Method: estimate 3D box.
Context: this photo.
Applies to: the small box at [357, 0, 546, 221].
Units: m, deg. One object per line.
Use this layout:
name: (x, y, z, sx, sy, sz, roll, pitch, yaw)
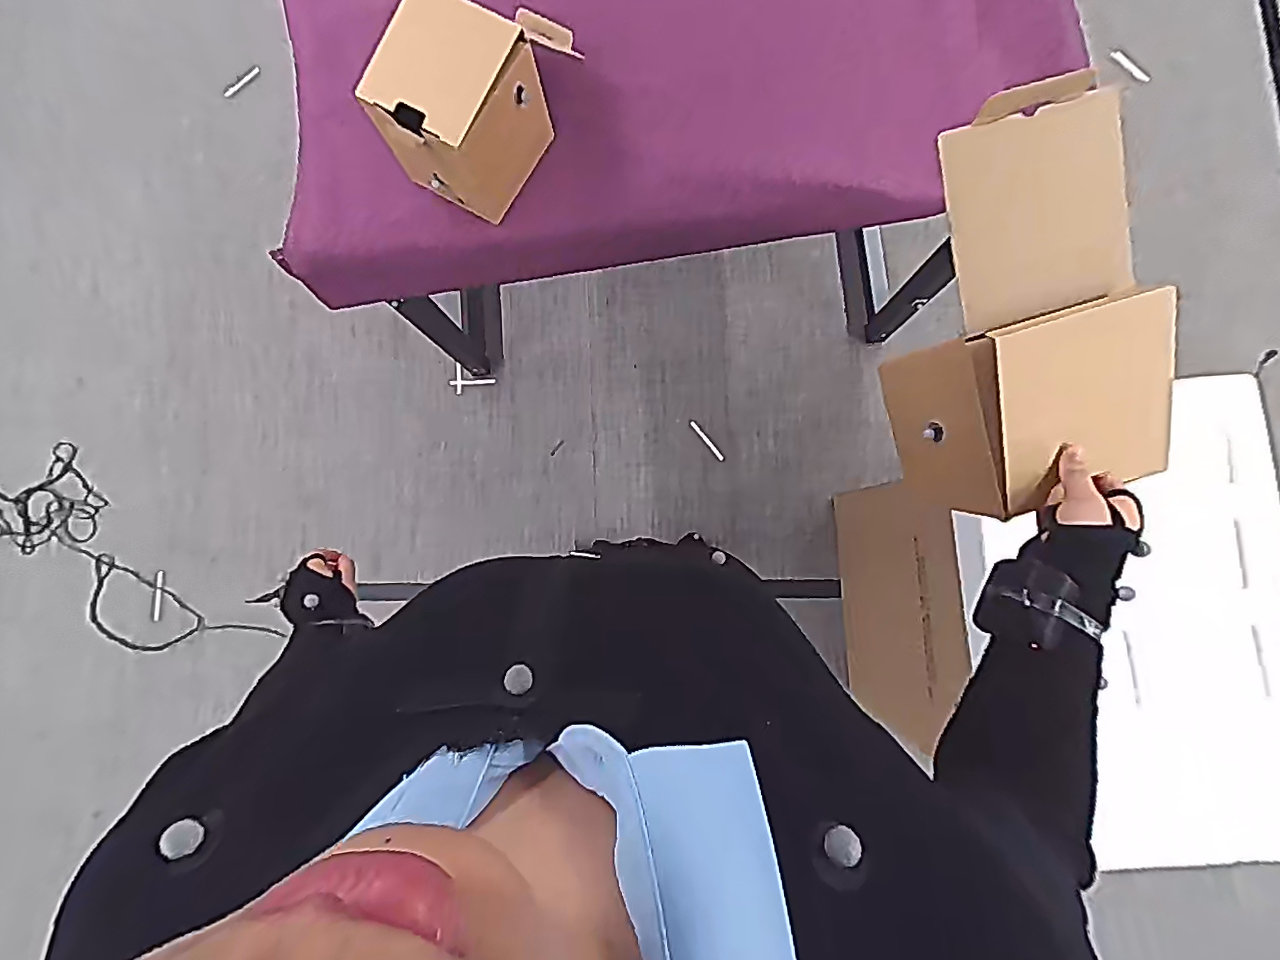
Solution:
small box: (-0.252, -0.521, 0.778, 0.168, 0.176, 0.179, 30, 85, 6)
